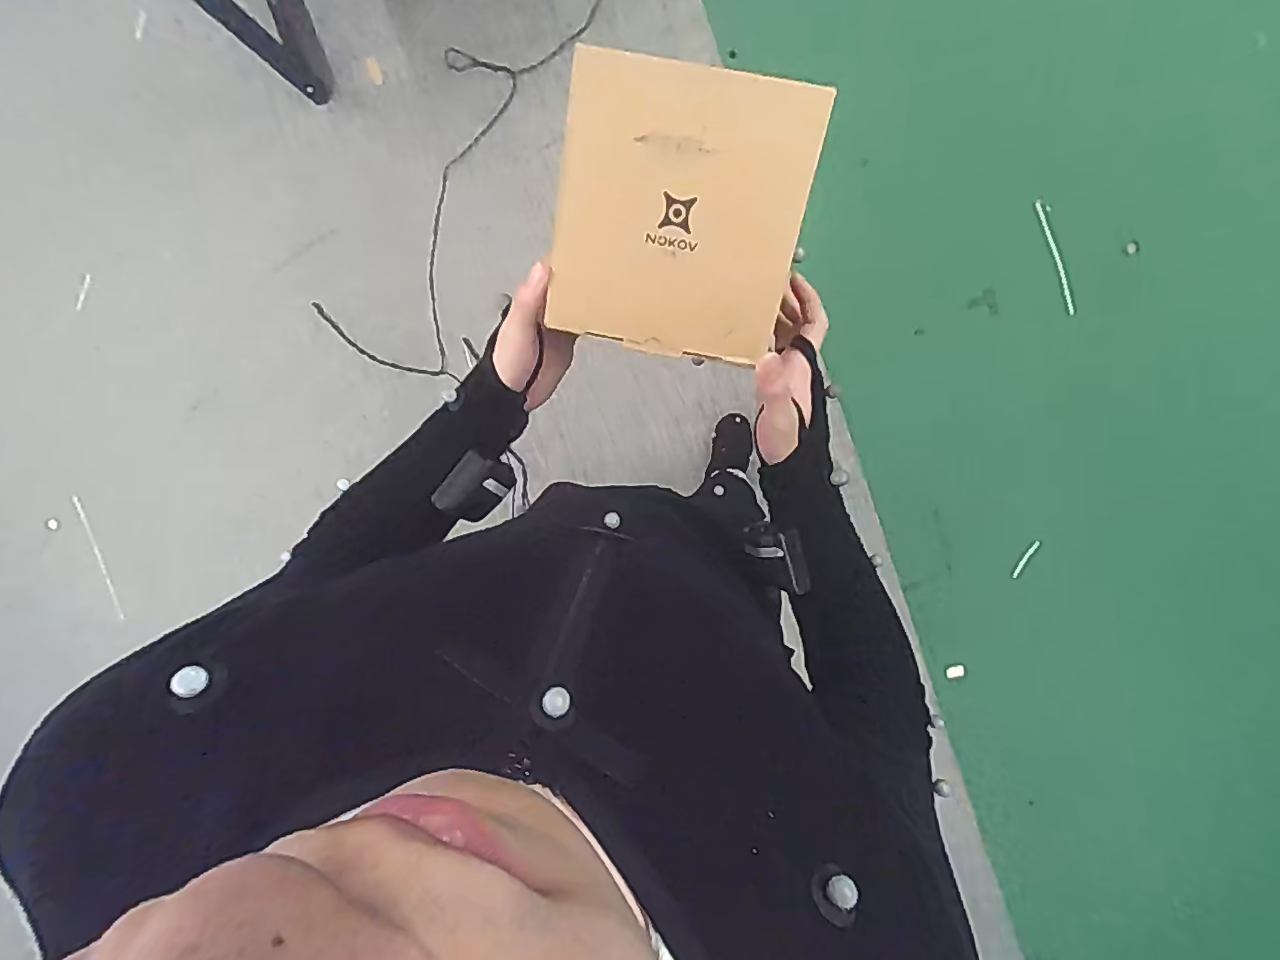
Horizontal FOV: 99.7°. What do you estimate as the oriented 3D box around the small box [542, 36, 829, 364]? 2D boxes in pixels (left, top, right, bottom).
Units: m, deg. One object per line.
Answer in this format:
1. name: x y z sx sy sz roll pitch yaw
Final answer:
1. small box: 0.032 -0.208 0.437 0.168 0.176 0.179 12 111 2
